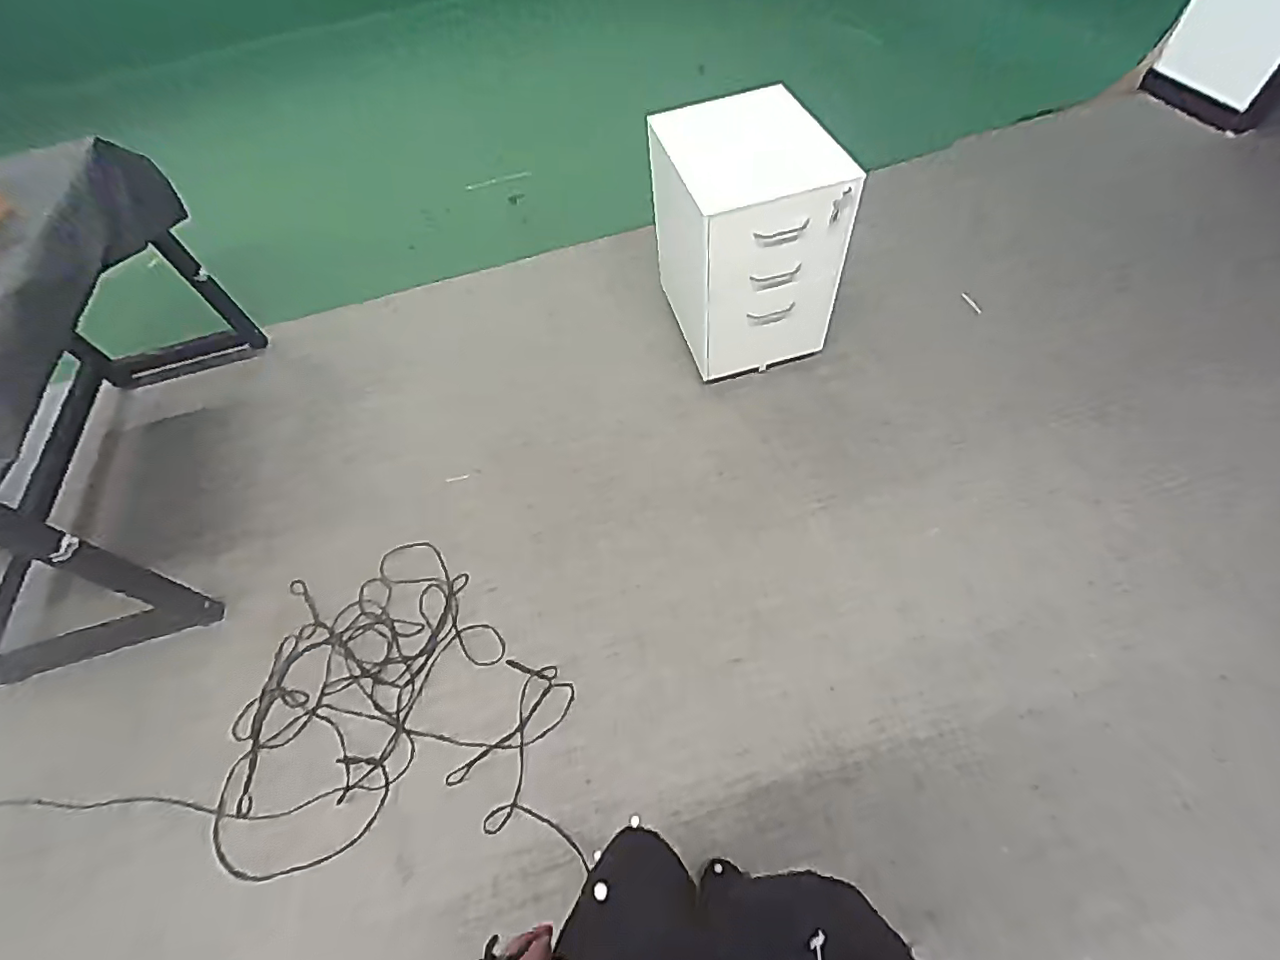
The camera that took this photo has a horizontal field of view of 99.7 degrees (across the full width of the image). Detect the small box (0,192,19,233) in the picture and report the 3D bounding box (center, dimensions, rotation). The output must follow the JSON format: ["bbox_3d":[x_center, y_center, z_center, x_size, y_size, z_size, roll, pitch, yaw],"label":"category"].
[{"bbox_3d":[-1.609,-0.630,1.224,0.179,0.176,0.168,-12,56,-1],"label":"small box"}]
